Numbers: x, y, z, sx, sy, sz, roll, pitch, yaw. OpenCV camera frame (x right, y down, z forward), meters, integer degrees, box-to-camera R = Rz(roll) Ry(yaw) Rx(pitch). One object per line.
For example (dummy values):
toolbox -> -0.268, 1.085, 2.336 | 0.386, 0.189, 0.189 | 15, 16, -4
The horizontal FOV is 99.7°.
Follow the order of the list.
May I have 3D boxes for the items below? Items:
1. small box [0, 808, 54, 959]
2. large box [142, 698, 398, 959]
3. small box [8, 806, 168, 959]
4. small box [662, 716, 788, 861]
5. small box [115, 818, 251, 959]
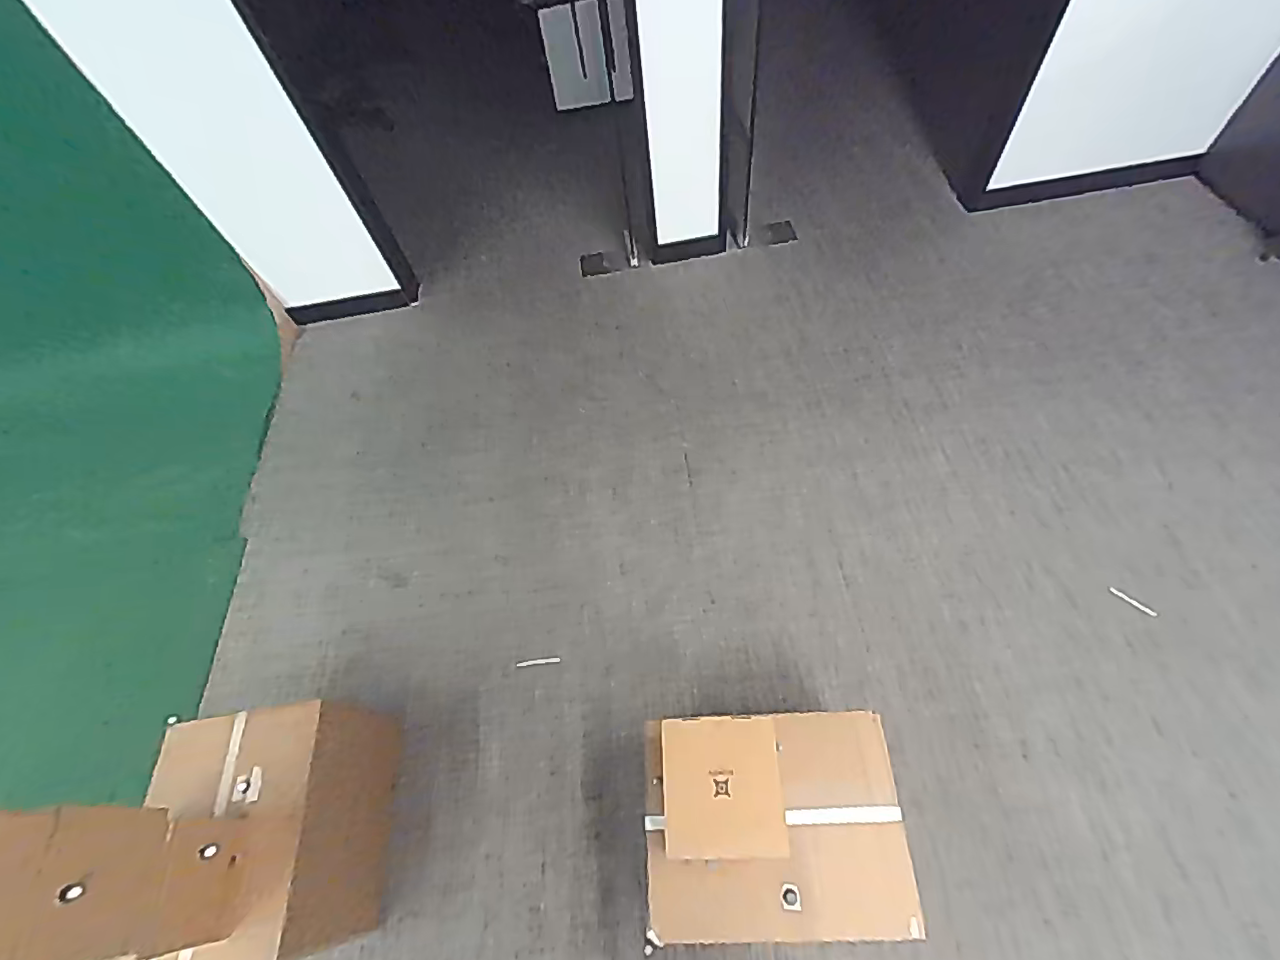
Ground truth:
small box -> -0.789, 0.456, 0.560 | 0.168, 0.176, 0.179 | -12, 58, 0
large box -> -0.719, 0.695, 1.079 | 0.320, 0.320, 0.408 | -10, 57, 1
small box -> -0.773, 0.540, 0.701 | 0.168, 0.176, 0.179 | -14, 57, -2
small box -> 0.123, 0.468, 0.821 | 0.168, 0.176, 0.179 | -4, 56, 5
small box -> -0.754, 0.631, 0.836 | 0.179, 0.176, 0.168 | -11, 57, 2
